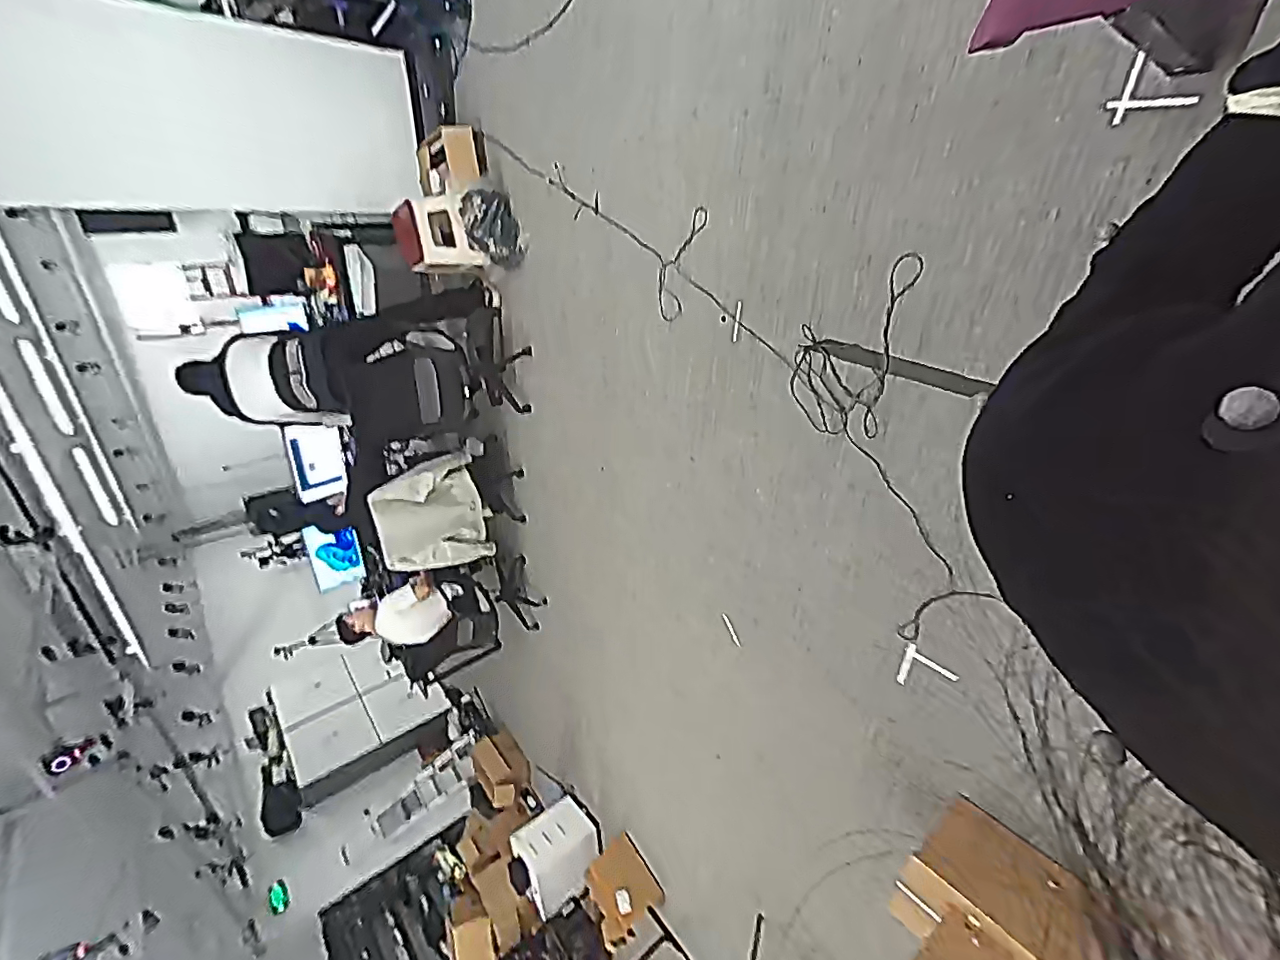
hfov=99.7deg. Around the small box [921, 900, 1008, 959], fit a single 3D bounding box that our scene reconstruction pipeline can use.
[{"bbox_3d":[0.862,1.306,1.465,0.168,0.176,0.179,29,127,42],"label":"small box"}]
